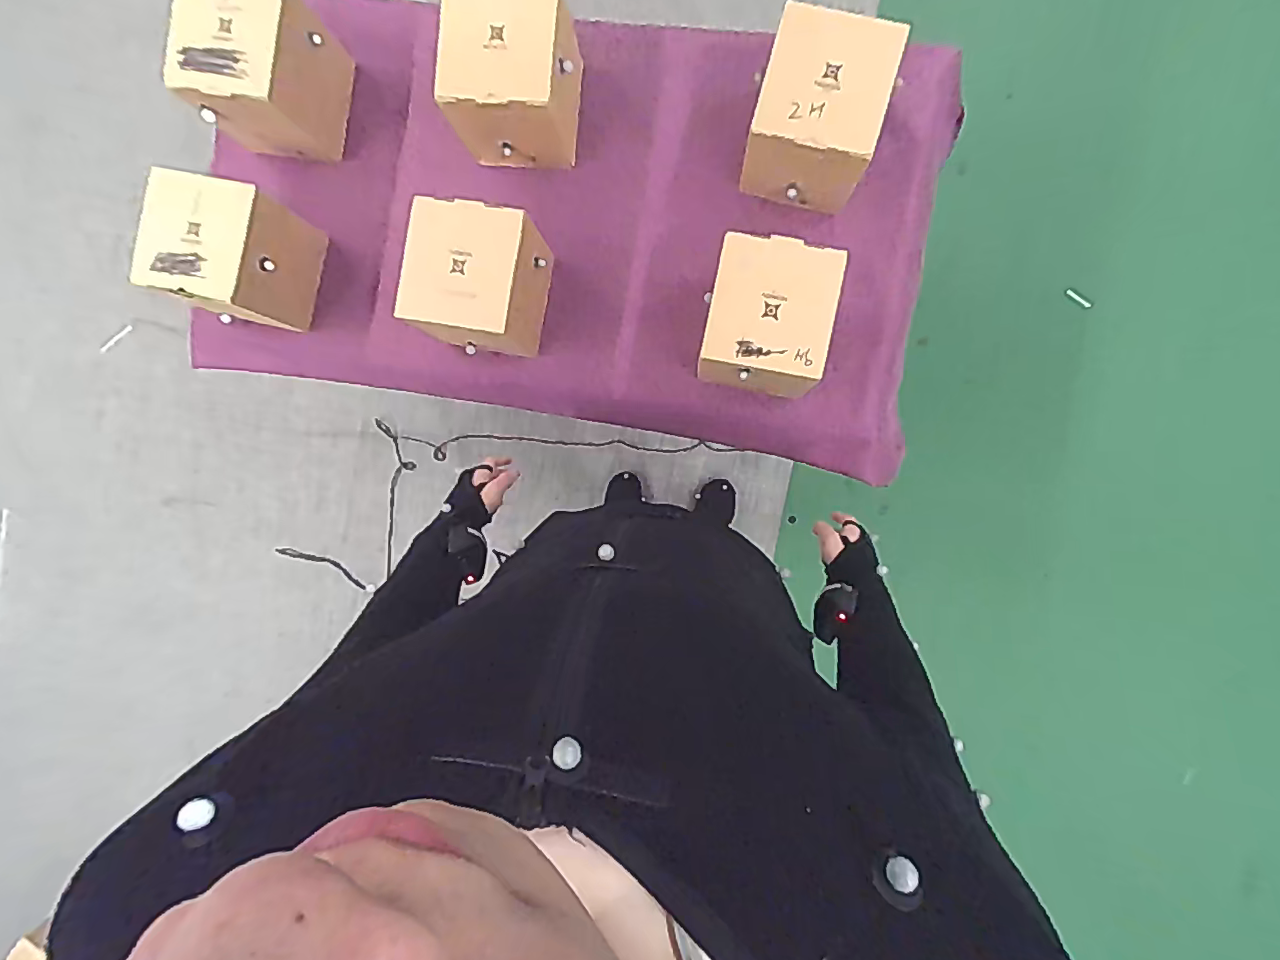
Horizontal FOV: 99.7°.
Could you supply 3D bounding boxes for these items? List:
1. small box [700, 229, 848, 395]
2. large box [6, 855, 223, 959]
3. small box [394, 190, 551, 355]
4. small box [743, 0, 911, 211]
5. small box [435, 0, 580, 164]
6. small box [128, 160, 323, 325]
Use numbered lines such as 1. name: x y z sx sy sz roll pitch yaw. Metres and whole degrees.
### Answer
1. small box: 0.185 -0.236 0.799 0.168 0.176 0.179 12 91 5
2. large box: -1.649 1.494 1.679 0.408 0.320 0.320 34 95 1
3. small box: -0.244 -0.307 0.831 0.168 0.176 0.179 11 92 5
4. small box: 0.255 -0.529 0.783 0.168 0.176 0.179 16 94 4
5. small box: -0.189 -0.614 0.816 0.168 0.176 0.179 6 94 4
6. small box: -0.640 -0.361 0.856 0.168 0.176 0.179 13 92 3
